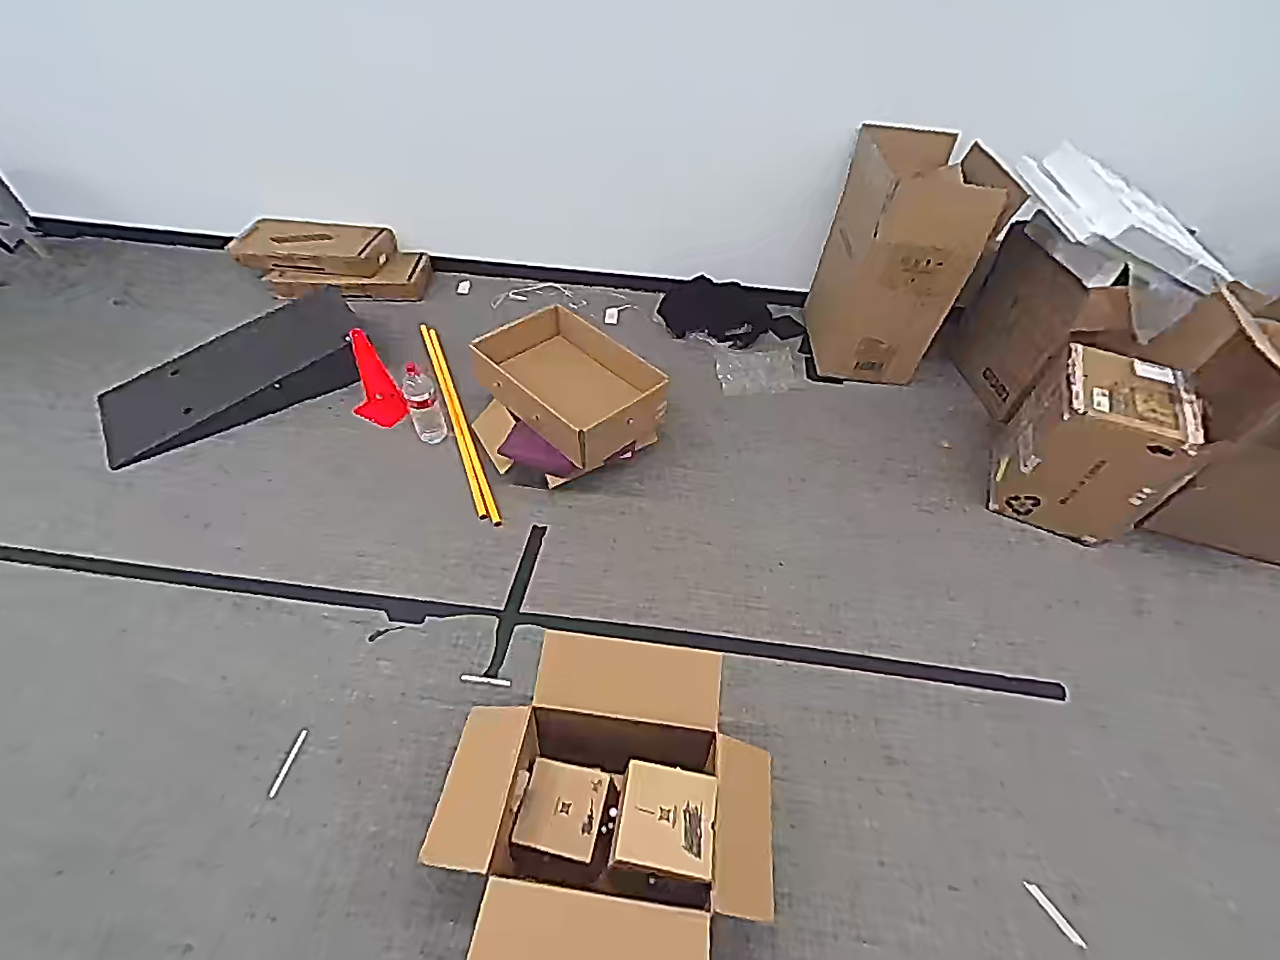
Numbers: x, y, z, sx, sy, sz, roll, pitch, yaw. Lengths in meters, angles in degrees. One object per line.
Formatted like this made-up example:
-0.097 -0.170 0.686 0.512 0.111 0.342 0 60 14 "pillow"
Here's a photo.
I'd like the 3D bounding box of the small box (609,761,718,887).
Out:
0.044 0.674 1.053 0.179 0.176 0.168 11 48 3 "small box"
